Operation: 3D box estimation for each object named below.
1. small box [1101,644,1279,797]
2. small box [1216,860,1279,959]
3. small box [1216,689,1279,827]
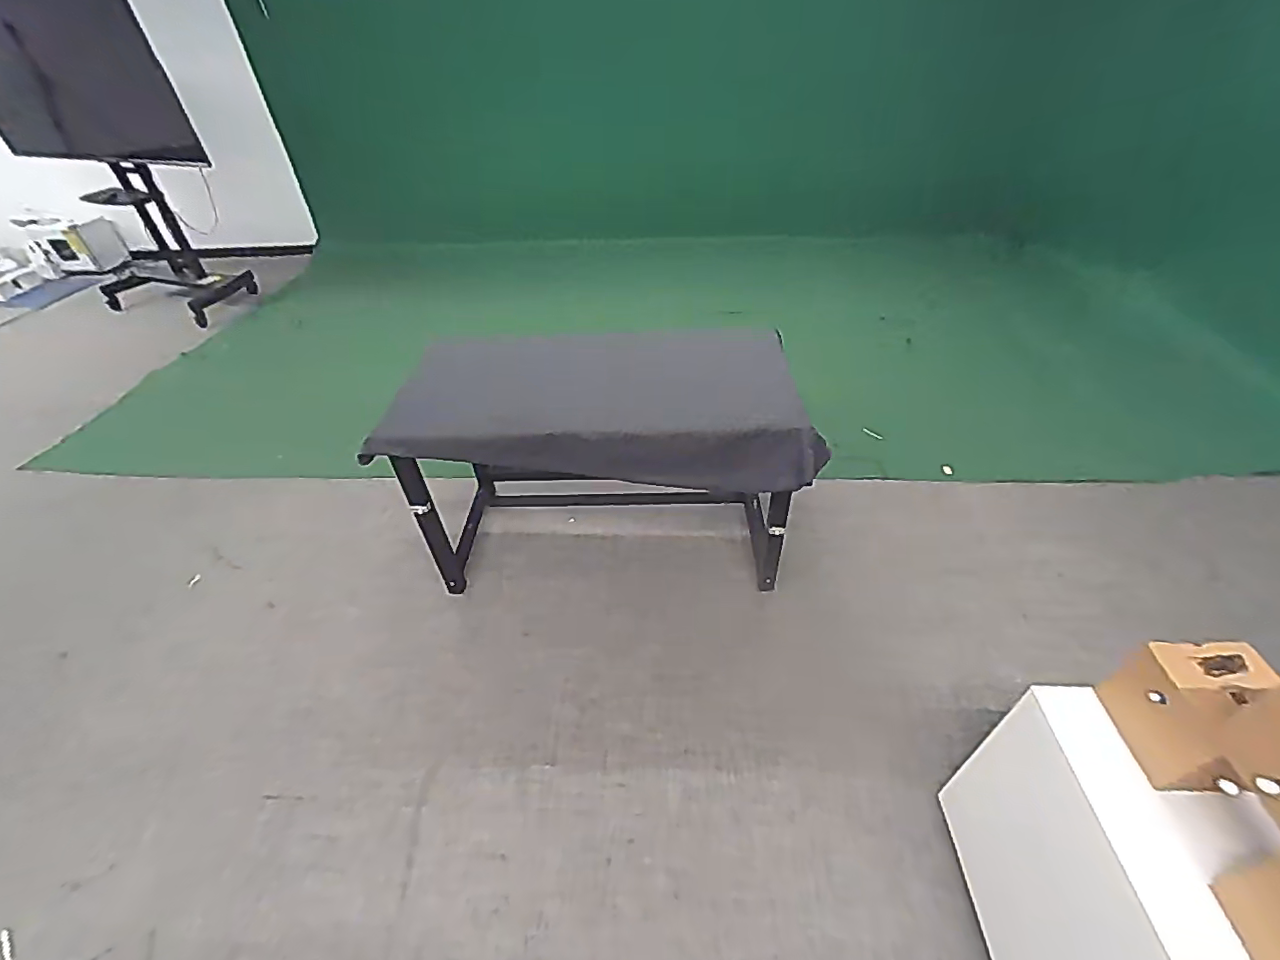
[{"bbox_3d":[0.913,0.387,0.874,0.168,0.176,0.179,-1,43,3],"label":"small box"},{"bbox_3d":[0.889,0.586,0.653,0.168,0.176,0.179,2,40,4],"label":"small box"},{"bbox_3d":[0.896,0.363,0.659,0.168,0.176,0.179,-1,43,2],"label":"small box"}]
